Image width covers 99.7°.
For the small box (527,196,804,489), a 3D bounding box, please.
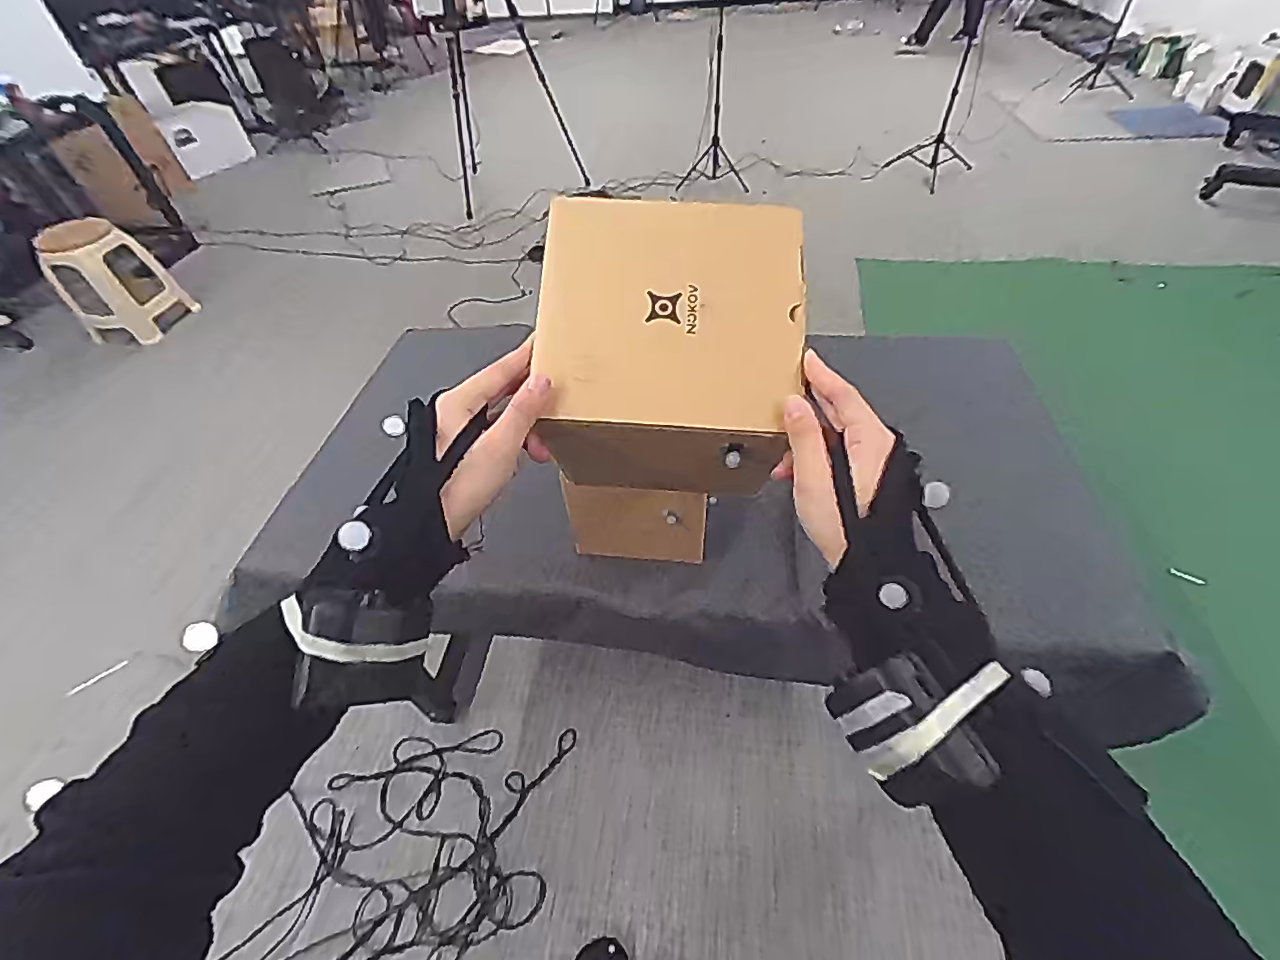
[{"bbox_3d":[0.022,-0.094,0.433,0.179,0.176,0.168,4,75,2],"label":"small box"}]
